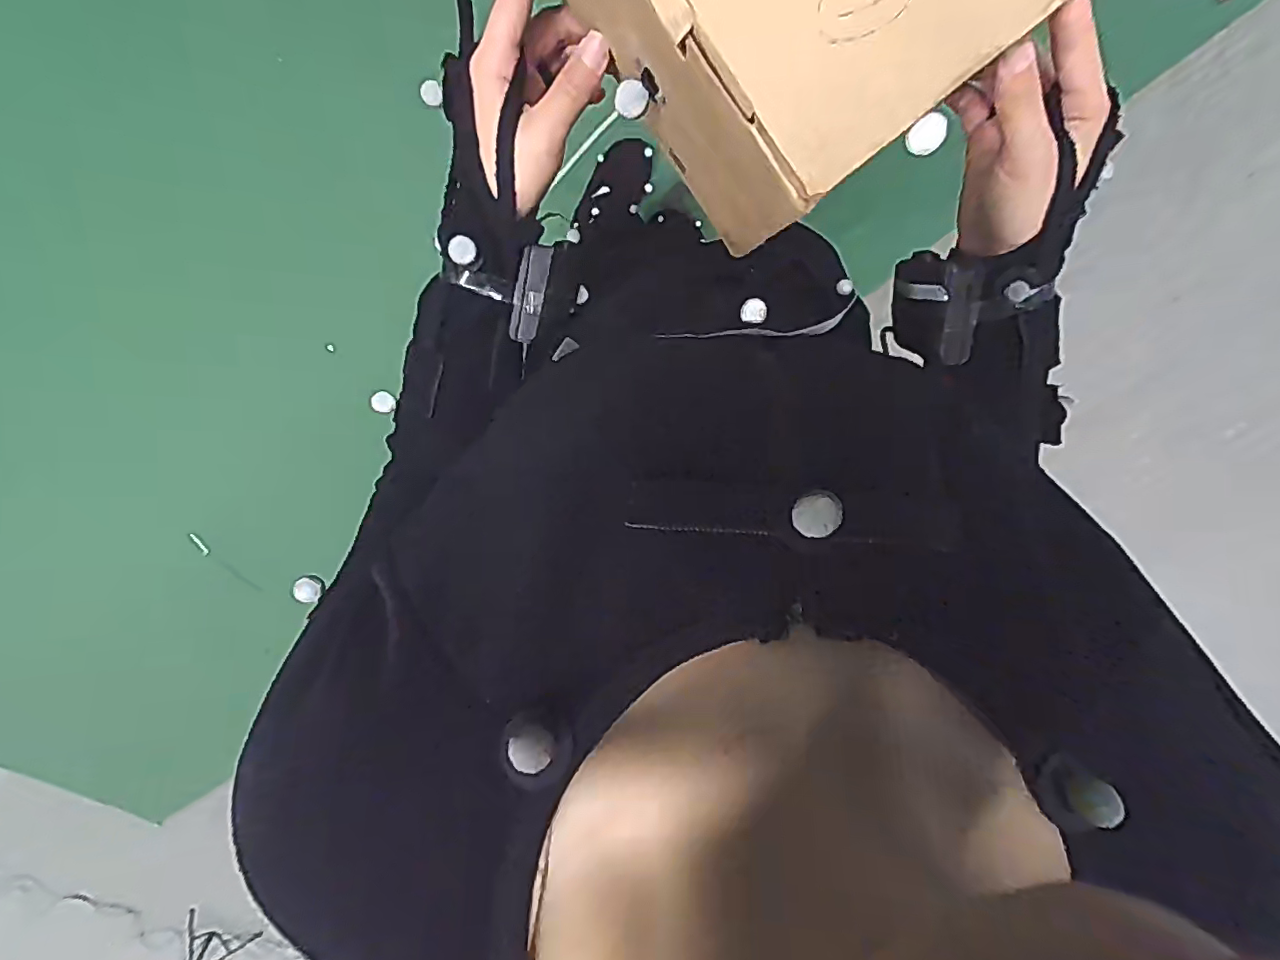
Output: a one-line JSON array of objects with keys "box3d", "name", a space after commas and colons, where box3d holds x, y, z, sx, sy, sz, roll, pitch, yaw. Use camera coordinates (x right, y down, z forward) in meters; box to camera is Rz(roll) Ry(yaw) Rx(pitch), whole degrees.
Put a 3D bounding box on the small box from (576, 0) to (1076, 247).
[{"box3d": [0.069, -0.216, 0.206, 0.179, 0.176, 0.168, -34, 102, 13], "name": "small box"}]
